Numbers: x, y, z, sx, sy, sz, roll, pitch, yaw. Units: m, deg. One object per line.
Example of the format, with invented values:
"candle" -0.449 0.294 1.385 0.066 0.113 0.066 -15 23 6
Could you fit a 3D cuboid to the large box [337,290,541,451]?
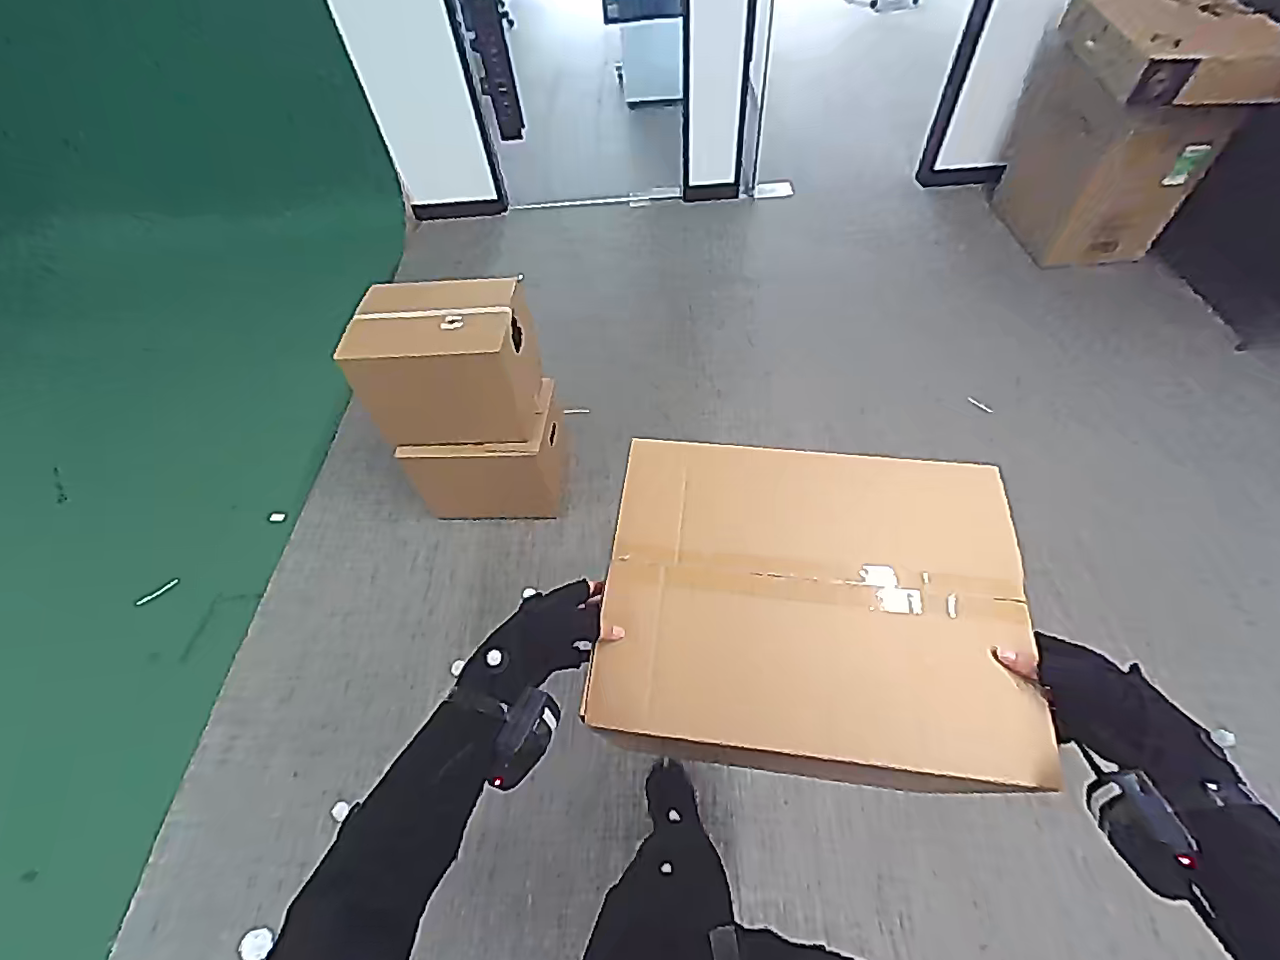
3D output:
"large box" -0.511 -0.293 1.471 0.408 0.320 0.320 -1 50 2
